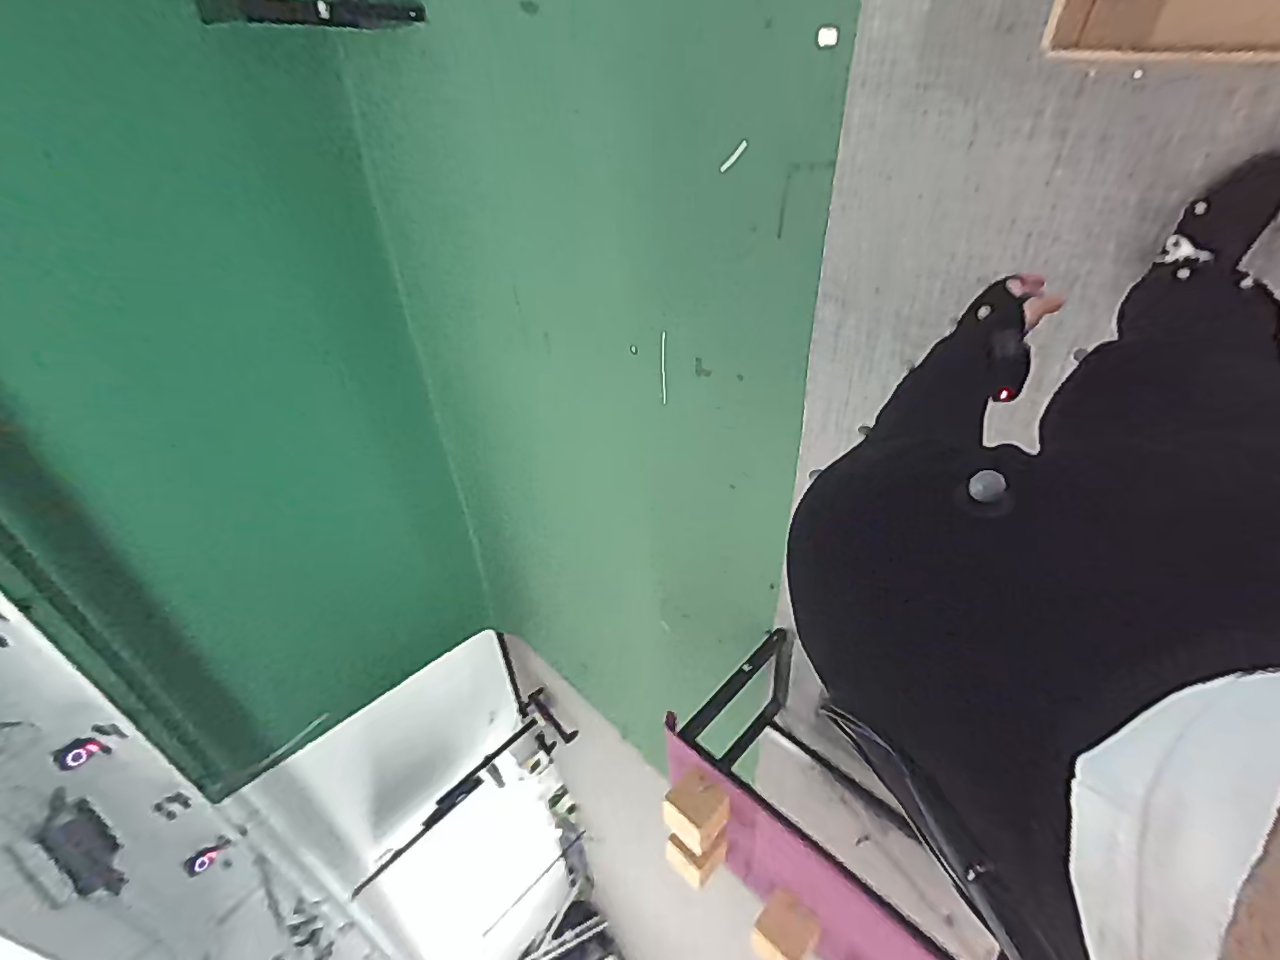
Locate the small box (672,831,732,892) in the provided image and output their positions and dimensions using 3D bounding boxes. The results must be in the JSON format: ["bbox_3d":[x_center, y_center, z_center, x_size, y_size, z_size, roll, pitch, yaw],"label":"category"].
[{"bbox_3d":[0.241,1.422,2.084,0.168,0.176,0.179,27,134,37],"label":"small box"}]

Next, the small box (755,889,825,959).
[{"bbox_3d":[0.513,1.559,1.842,0.168,0.176,0.179,25,132,39],"label":"small box"}]

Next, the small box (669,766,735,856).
[{"bbox_3d":[0.221,1.165,1.913,0.168,0.176,0.179,25,132,38],"label":"small box"}]
